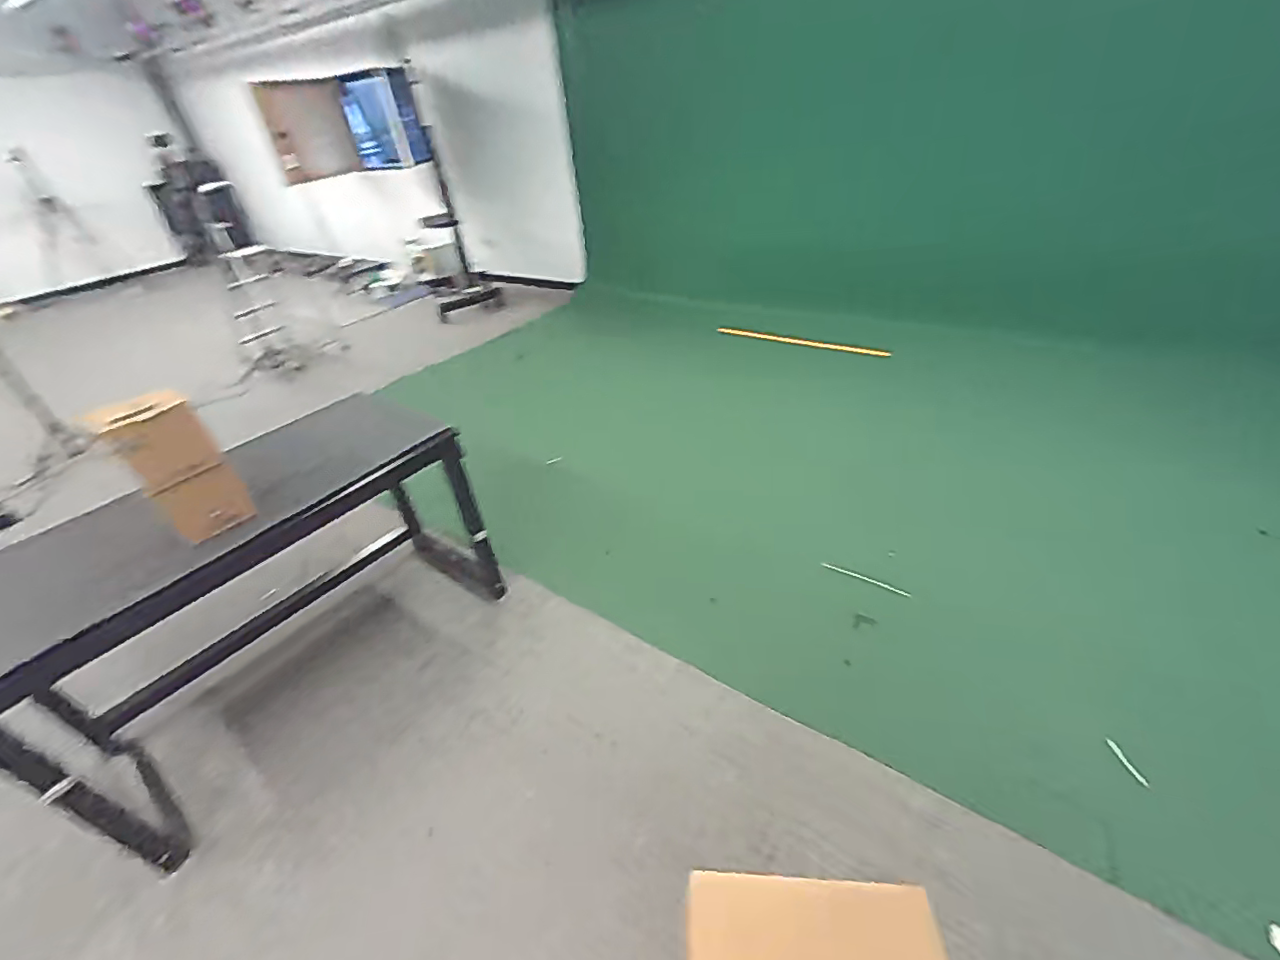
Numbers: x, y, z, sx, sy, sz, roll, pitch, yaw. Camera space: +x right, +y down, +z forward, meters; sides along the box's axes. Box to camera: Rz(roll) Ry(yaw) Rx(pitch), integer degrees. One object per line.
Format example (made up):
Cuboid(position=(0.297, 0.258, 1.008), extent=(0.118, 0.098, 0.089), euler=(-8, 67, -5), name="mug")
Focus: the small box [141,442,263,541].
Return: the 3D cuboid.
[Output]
Cuboid(position=(-1.115, 0.030, 1.383), extent=(0.179, 0.176, 0.168), euler=(21, 43, 34), name="small box")
